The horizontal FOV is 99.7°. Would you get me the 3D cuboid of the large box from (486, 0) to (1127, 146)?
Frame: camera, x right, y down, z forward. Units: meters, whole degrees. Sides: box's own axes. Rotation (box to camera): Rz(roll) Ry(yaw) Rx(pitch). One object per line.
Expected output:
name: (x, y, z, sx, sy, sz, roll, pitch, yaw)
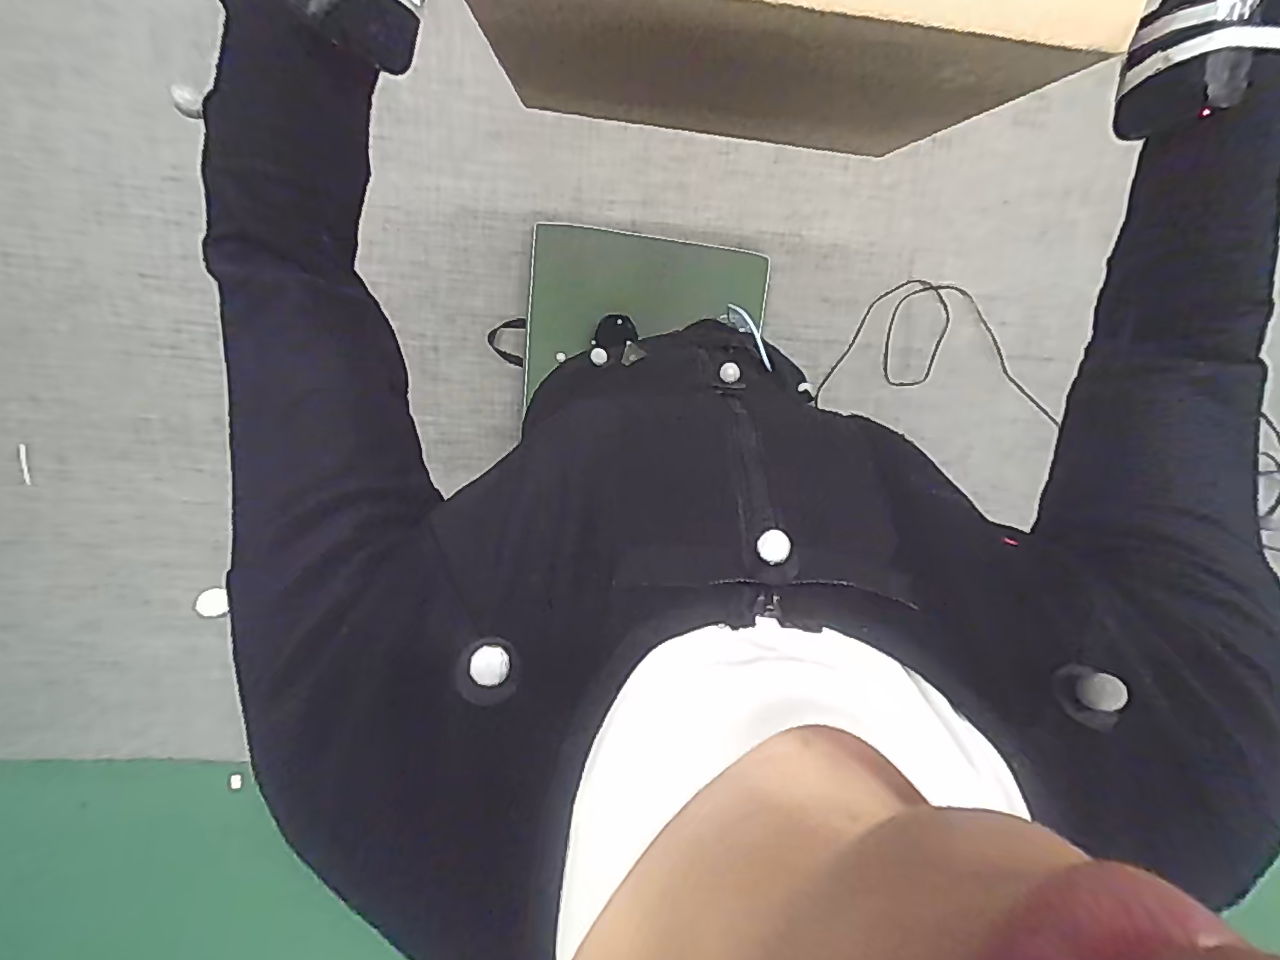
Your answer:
large box: (0.097, -0.476, 0.403, 0.408, 0.320, 0.320, 4, 111, -5)
